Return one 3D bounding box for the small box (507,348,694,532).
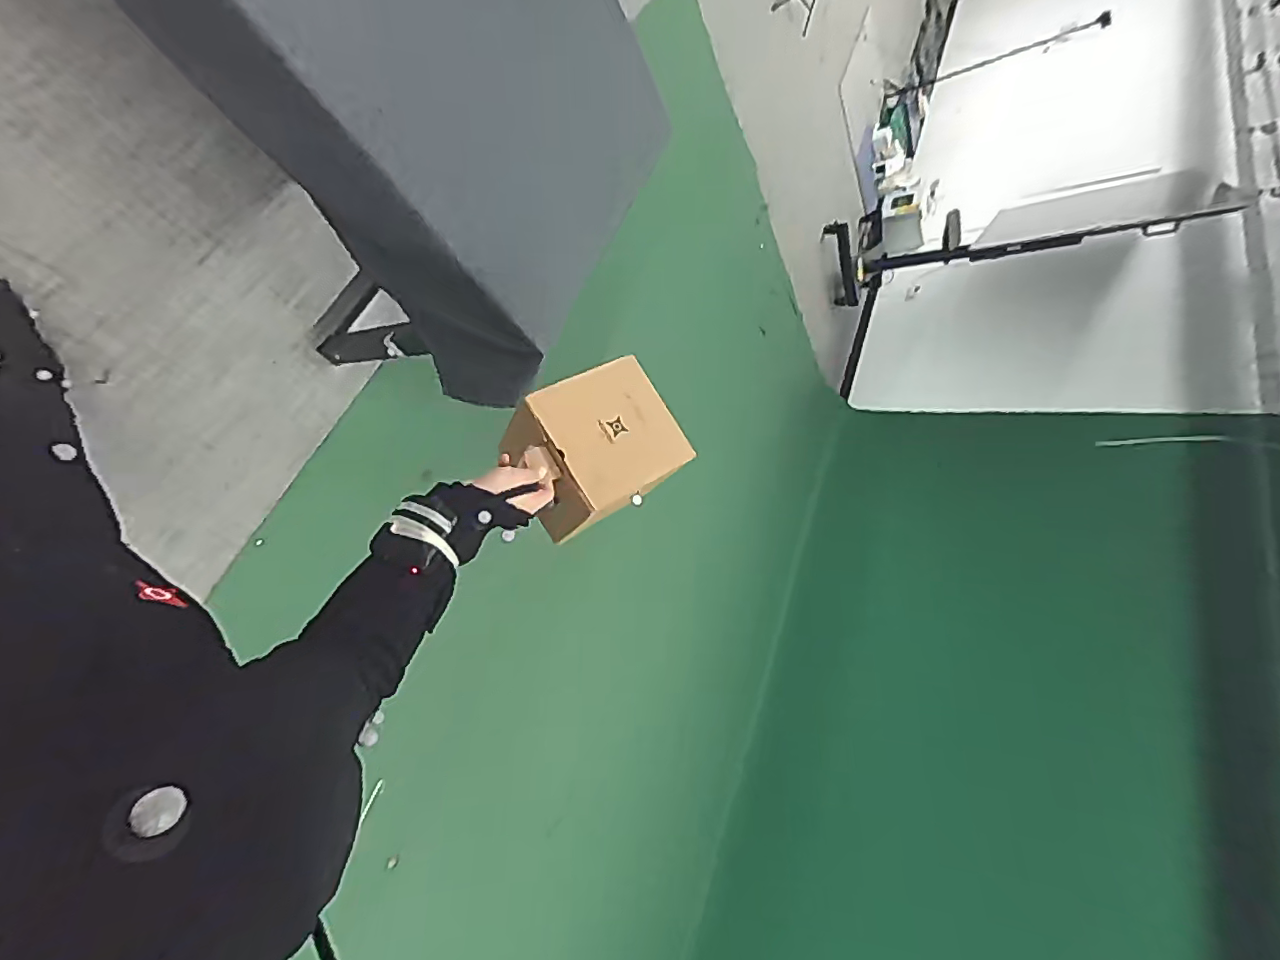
[{"bbox_3d":[-0.066,-0.048,0.744,0.179,0.176,0.168,-31,88,-32],"label":"small box"}]
